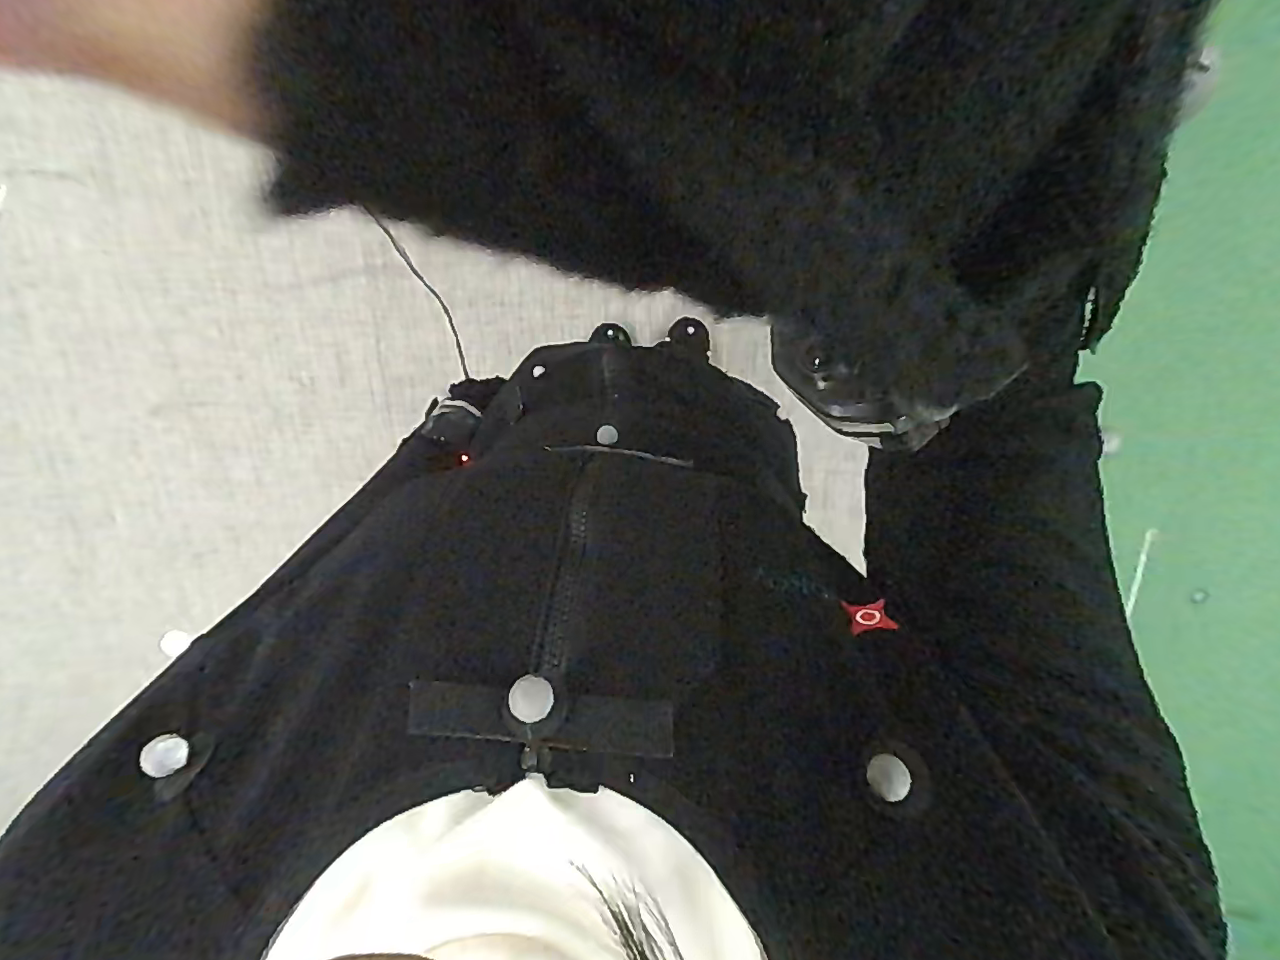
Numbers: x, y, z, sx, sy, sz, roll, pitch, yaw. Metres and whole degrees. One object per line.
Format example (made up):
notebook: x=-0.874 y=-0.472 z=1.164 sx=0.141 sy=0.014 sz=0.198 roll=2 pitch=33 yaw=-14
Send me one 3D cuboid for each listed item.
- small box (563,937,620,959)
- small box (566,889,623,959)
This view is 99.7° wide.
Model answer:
small box: x=-0.156 y=1.574 z=1.690 sx=0.179 sy=0.176 sz=0.168 roll=-2 pitch=105 yaw=2
small box: x=-0.150 y=1.539 z=1.847 sx=0.179 sy=0.176 sz=0.168 roll=-2 pitch=107 yaw=1
